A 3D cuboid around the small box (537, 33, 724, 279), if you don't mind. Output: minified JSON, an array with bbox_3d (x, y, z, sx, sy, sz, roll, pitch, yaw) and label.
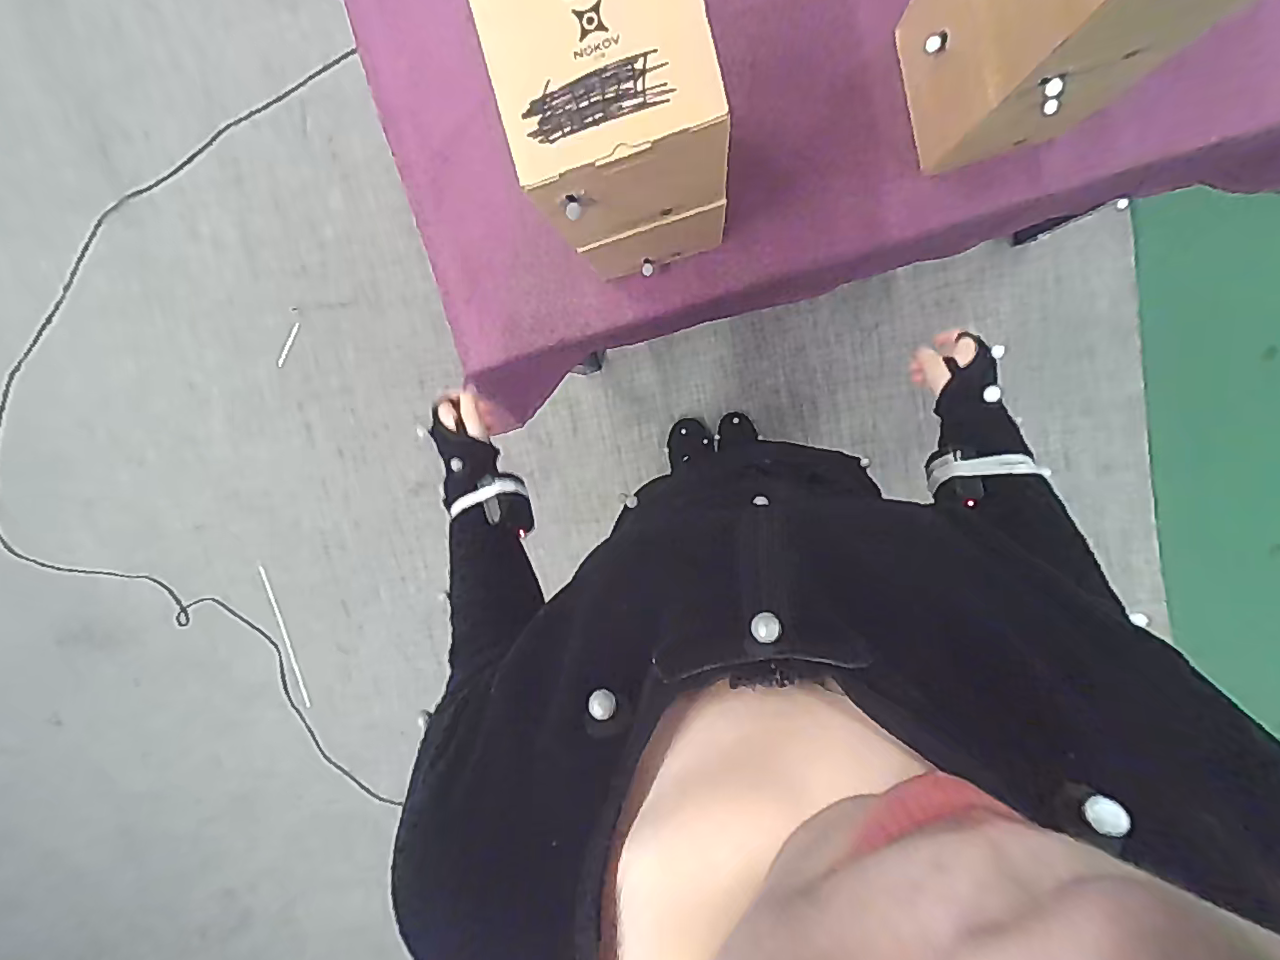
[{"bbox_3d":[-0.002,-0.361,0.641,0.168,0.176,0.179,-14,98,9],"label":"small box"}]

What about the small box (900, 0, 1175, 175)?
[{"bbox_3d":[0.399,-0.467,0.575,0.168,0.176,0.179,-14,96,10],"label":"small box"}]

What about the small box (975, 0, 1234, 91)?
[{"bbox_3d":[0.381,-0.442,0.414,0.168,0.176,0.179,-15,97,8],"label":"small box"}]
